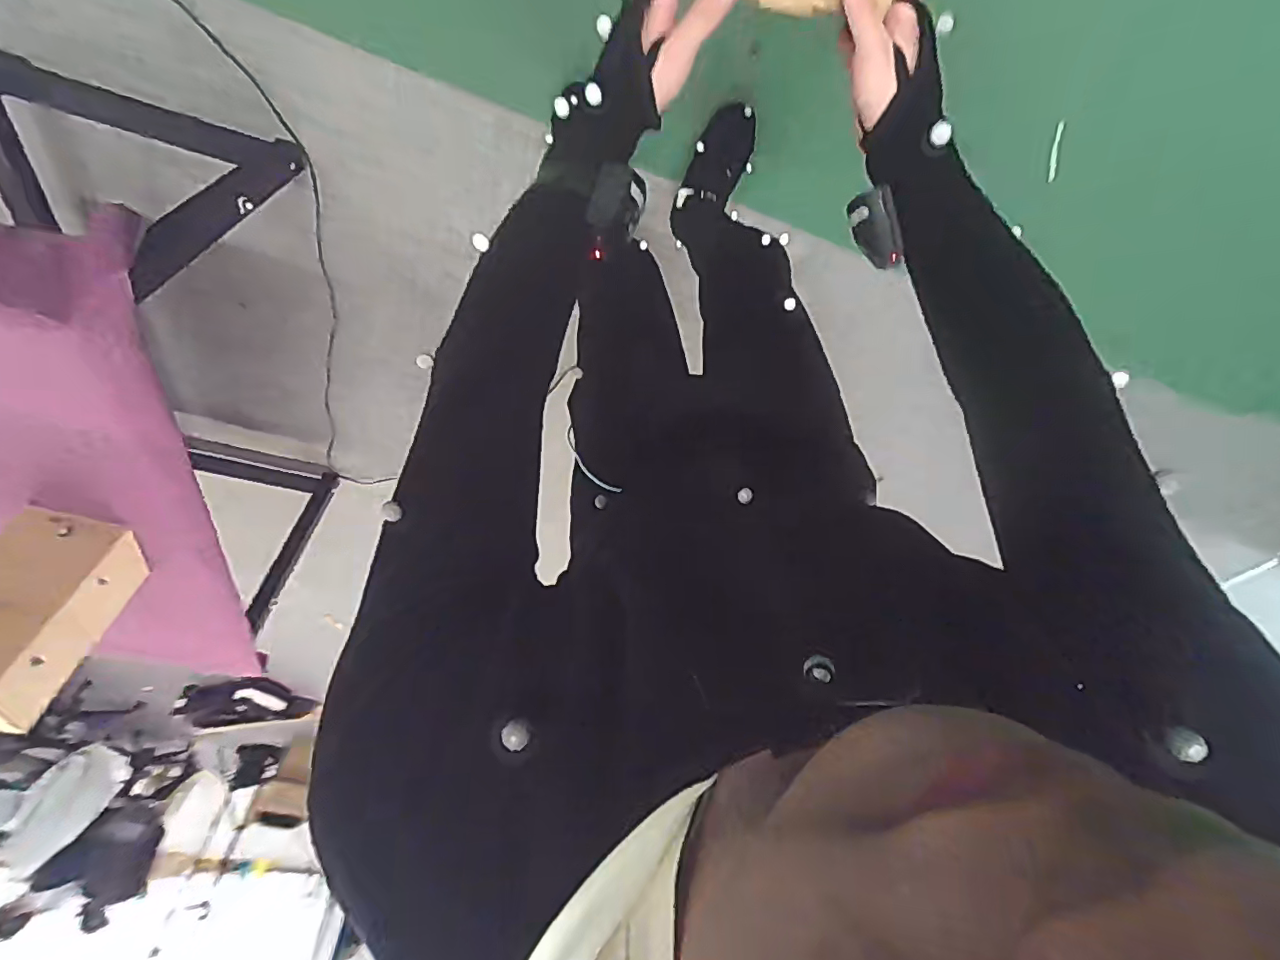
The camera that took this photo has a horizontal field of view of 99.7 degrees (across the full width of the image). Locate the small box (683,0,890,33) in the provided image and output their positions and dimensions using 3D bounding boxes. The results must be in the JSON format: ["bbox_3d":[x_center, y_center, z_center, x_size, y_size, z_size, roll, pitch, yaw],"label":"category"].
[{"bbox_3d":[0.125,-0.483,0.407,0.168,0.176,0.179,4,144,-4],"label":"small box"}]

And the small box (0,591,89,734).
[{"bbox_3d":[-1.082,0.294,0.893,0.168,0.176,0.179,19,134,-15],"label":"small box"}]
